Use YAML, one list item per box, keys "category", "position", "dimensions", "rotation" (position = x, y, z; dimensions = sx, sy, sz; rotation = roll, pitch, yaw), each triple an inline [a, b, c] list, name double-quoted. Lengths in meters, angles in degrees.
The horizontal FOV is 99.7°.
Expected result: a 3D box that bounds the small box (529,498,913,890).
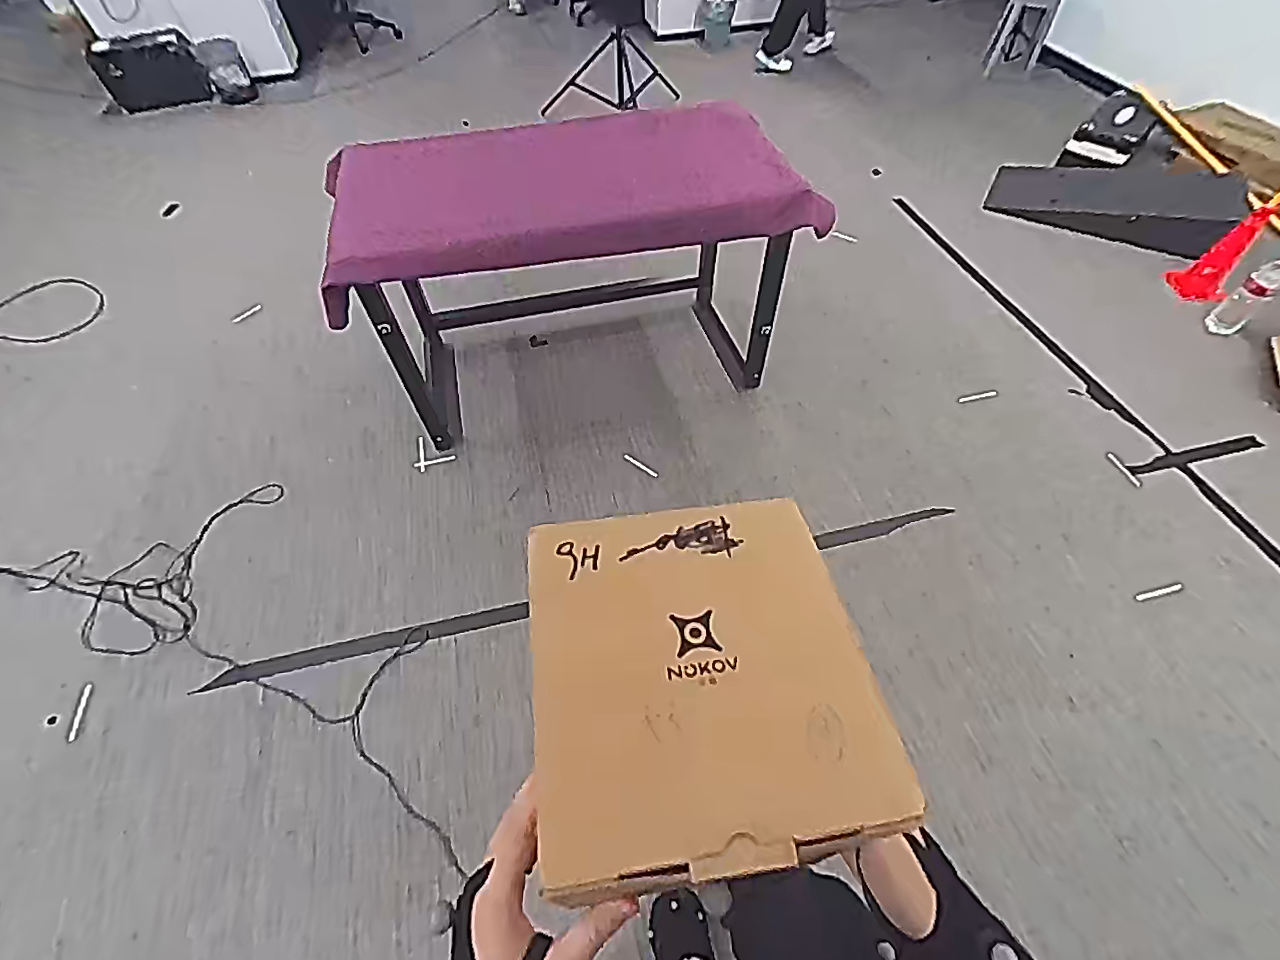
- category: "small box"
  position: [0.025, 0.135, 0.336]
  dimensions: [0.168, 0.176, 0.179]
  rotation: [-5, 51, -7]
